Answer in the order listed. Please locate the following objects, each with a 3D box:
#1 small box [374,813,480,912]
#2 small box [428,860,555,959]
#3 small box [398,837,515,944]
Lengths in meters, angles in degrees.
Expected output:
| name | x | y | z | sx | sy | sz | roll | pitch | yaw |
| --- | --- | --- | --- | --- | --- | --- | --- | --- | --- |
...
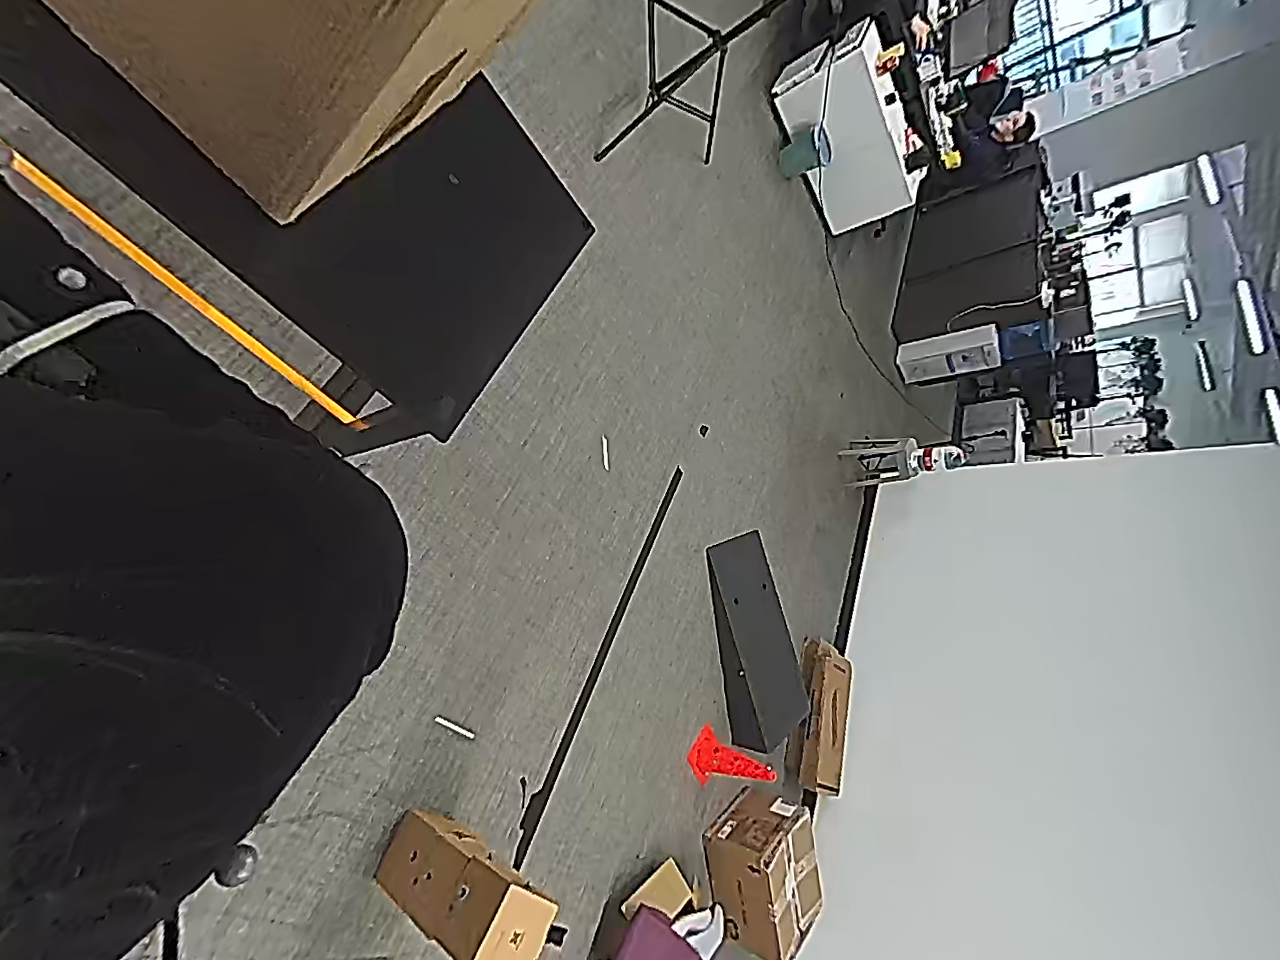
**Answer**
| name | x | y | z | sx | sy | sz | roll | pitch | yaw |
| --- | --- | --- | --- | --- | --- | --- | --- | --- | --- |
| small box | -0.569 | 1.016 | 1.437 | 0.168 | 0.176 | 0.179 | 44 | 57 | -36 |
| small box | -0.332 | 0.993 | 1.212 | 0.179 | 0.176 | 0.168 | 52 | 51 | -30 |
| small box | -0.449 | 1.009 | 1.325 | 0.179 | 0.176 | 0.168 | 47 | 54 | -34 |
